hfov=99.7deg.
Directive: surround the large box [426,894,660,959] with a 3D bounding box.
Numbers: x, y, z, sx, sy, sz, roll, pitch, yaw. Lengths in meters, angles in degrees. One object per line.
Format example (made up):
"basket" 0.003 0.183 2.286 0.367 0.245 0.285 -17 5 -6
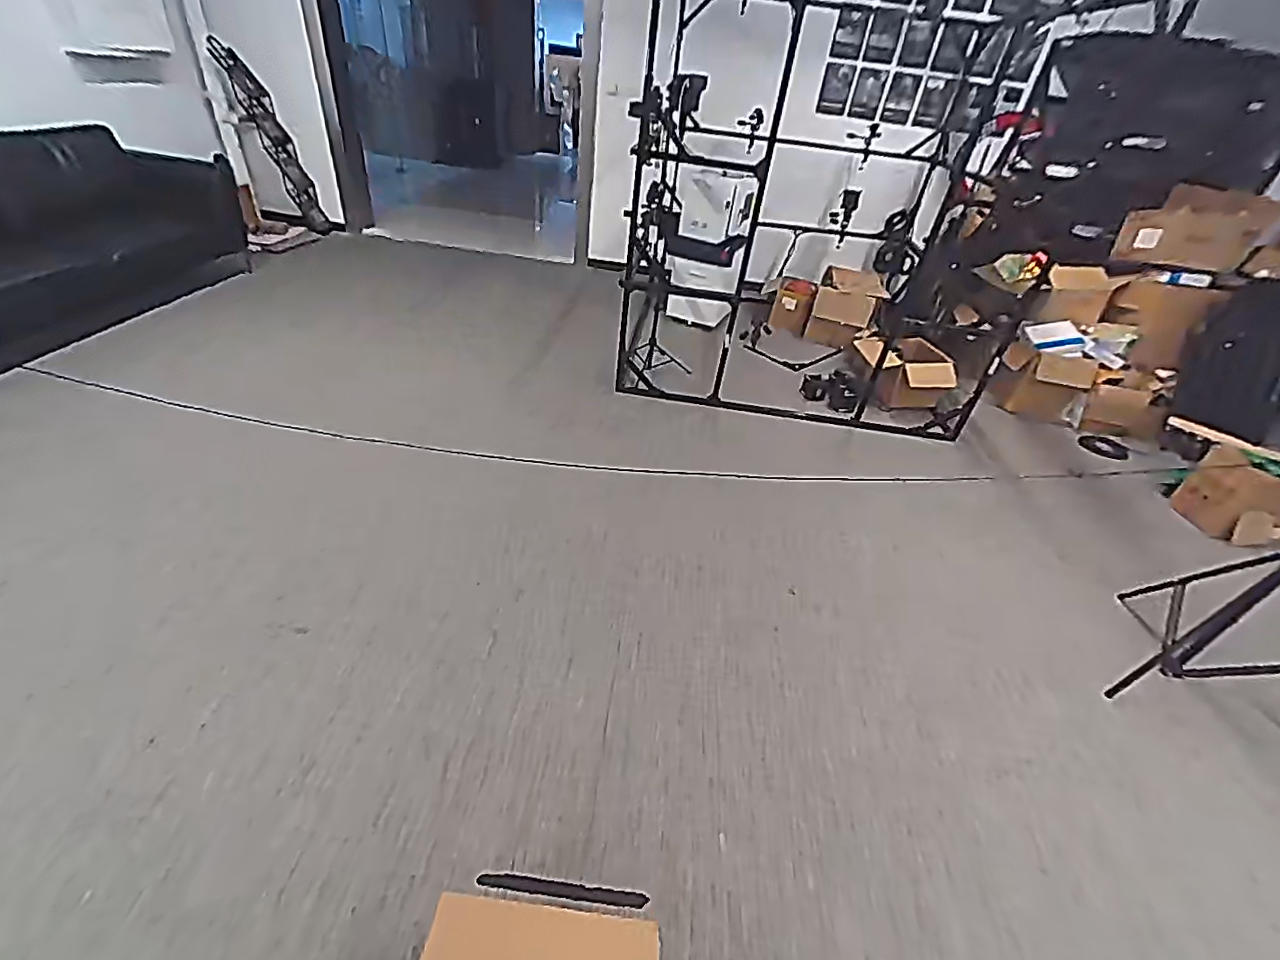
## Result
"large box" -0.190 0.992 0.954 0.408 0.320 0.320 9 37 0
